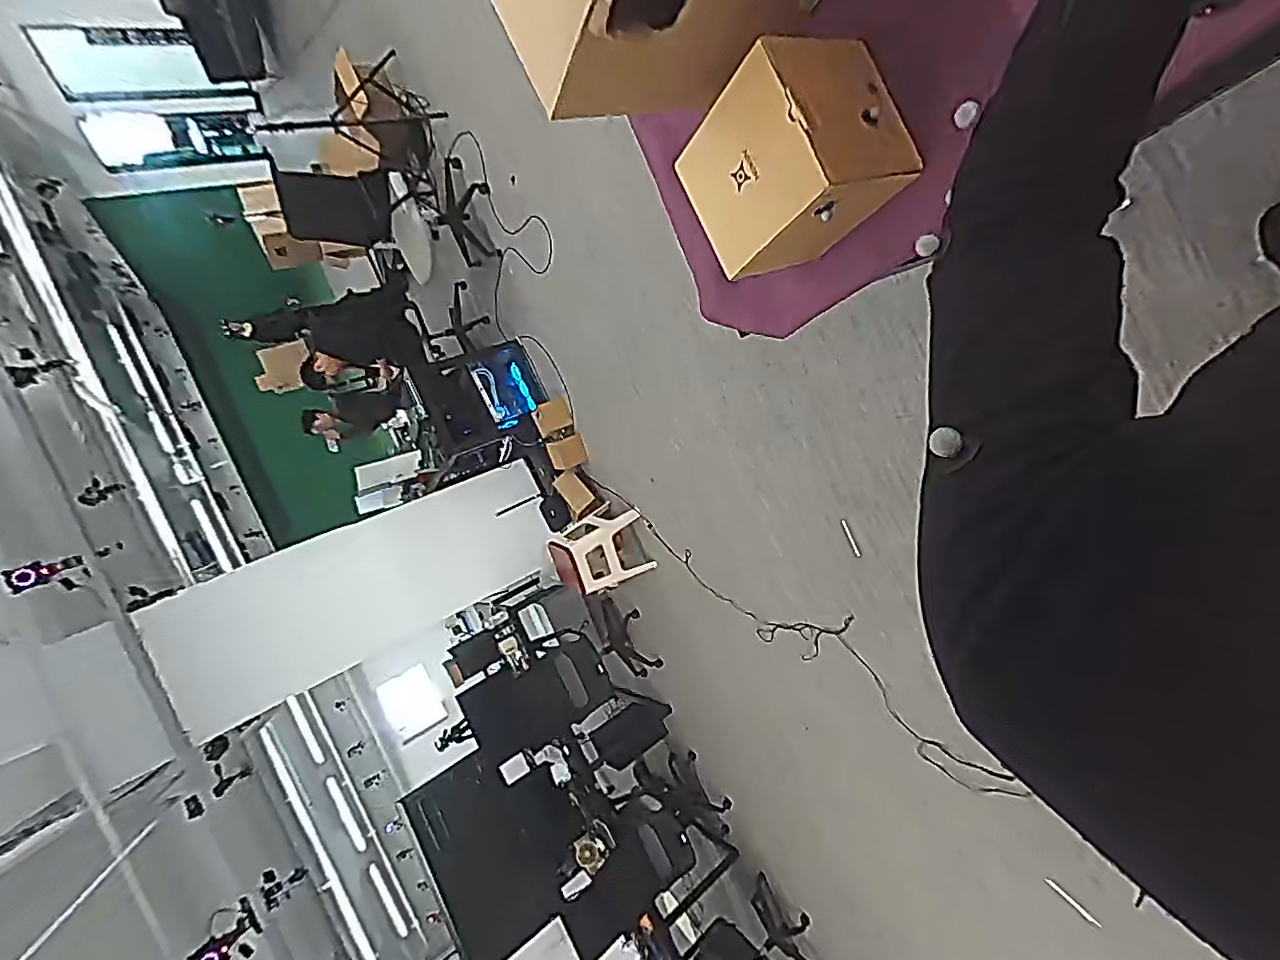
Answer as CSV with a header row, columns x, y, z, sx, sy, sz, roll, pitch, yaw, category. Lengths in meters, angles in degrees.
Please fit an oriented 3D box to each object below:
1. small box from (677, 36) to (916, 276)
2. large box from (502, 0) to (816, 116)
x,y,z,sx,sy,sz,roll,pitch,yaw,category
0.180,-0.373,0.640,0.168,0.176,0.179,64,151,2,small box
0.004,-0.675,0.547,0.408,0.320,0.320,62,152,0,large box
